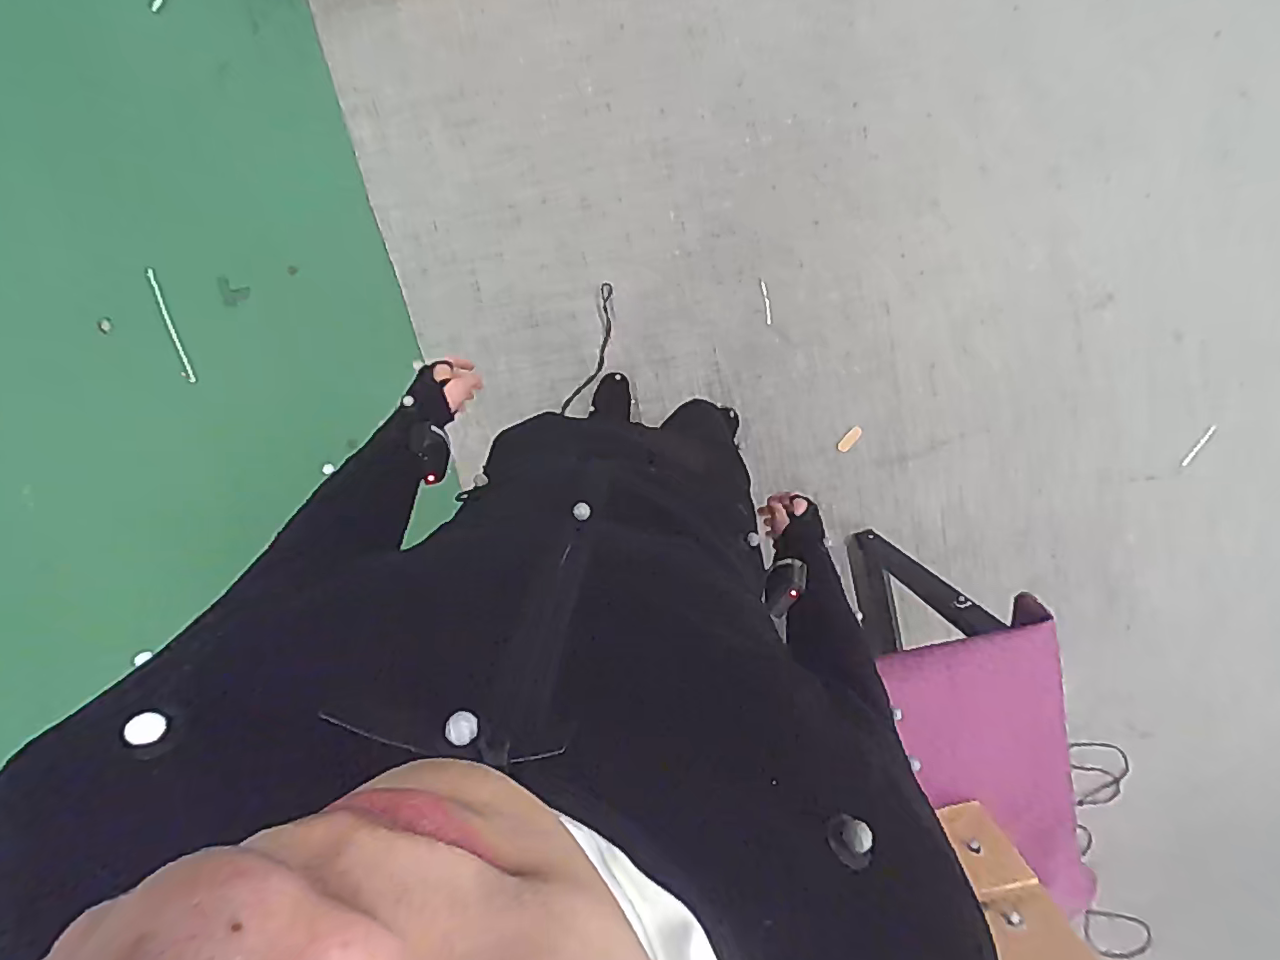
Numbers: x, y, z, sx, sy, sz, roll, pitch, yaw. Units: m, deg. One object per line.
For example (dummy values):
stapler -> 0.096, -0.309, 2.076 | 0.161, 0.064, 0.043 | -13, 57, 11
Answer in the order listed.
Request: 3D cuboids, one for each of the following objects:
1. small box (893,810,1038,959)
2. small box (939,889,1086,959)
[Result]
small box -> 0.581, 0.732, 0.973 | 0.168, 0.176, 0.179 | -15, 102, 2
small box -> 0.579, 0.771, 0.812 | 0.168, 0.176, 0.179 | -11, 102, 1
